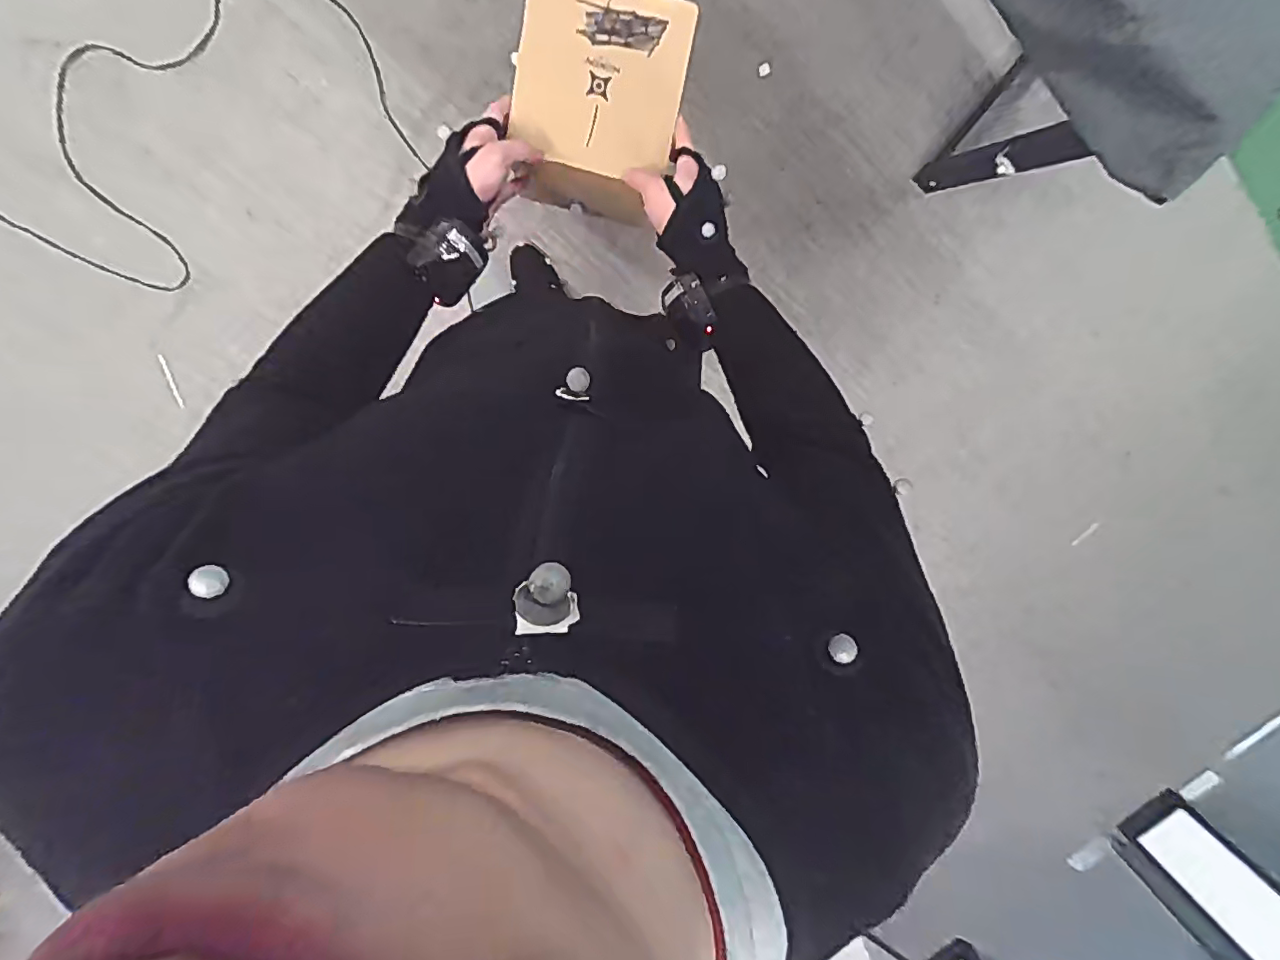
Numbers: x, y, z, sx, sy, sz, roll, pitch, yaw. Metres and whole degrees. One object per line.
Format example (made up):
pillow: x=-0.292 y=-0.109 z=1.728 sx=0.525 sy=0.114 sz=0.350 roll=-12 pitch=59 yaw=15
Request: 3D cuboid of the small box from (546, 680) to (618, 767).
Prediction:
small box: x=-0.196 y=0.803 z=1.798 sx=0.168 sy=0.176 sz=0.179 roll=35 pitch=103 yaw=-18

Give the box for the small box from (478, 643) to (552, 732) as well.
small box: x=-0.392 y=0.654 z=1.721 sx=0.168 sy=0.176 sz=0.179 roll=27 pitch=107 yaw=-14

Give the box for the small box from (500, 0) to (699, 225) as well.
small box: x=-0.049 y=-0.410 z=0.596 sx=0.168 sy=0.176 sz=0.179 roll=11 pitch=101 yaw=-9
